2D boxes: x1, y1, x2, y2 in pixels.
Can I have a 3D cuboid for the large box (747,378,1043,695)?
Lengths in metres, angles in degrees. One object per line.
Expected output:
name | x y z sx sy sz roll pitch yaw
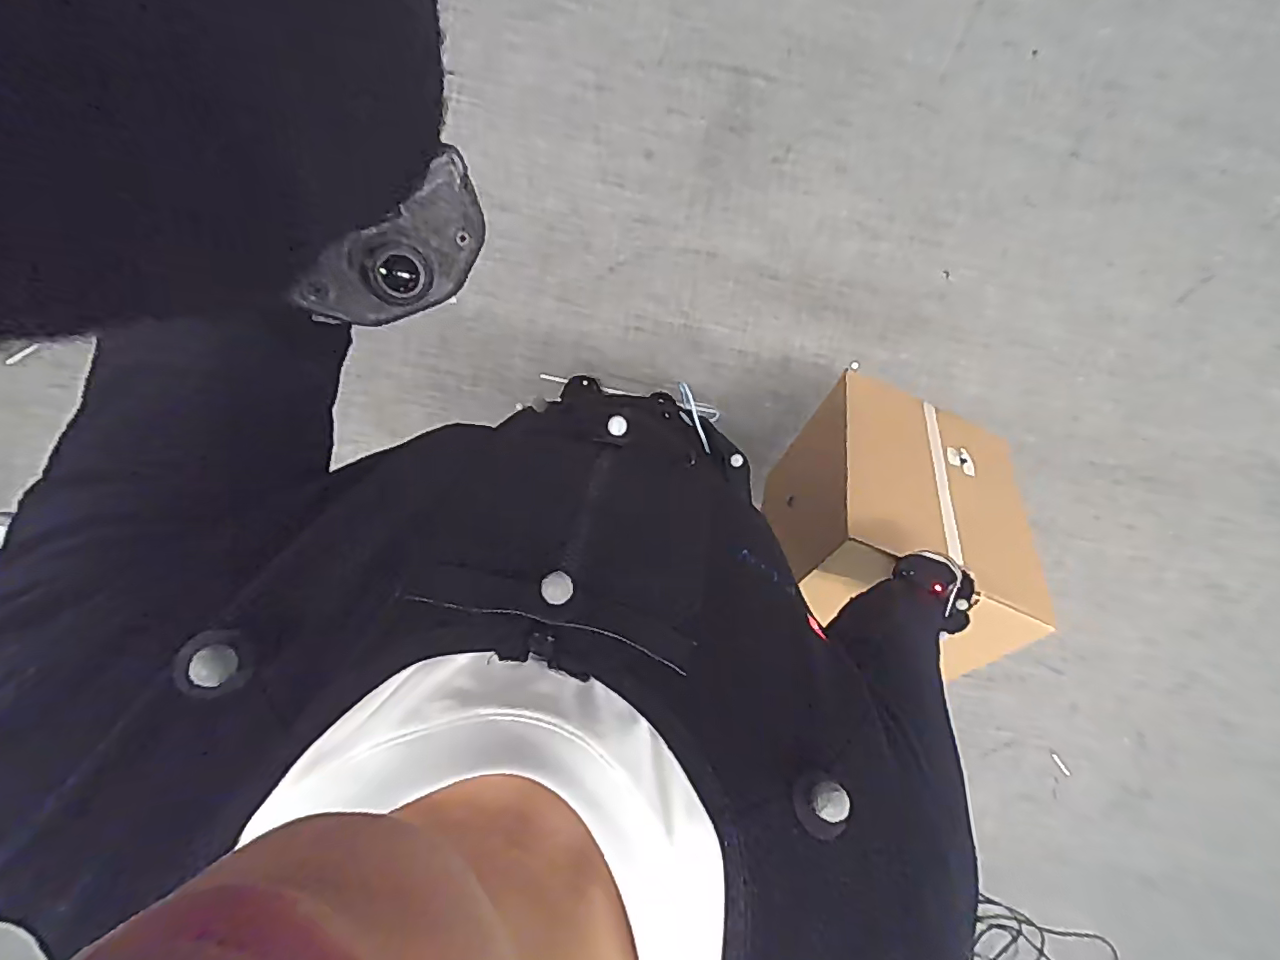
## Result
large box | 0.409 0.098 0.965 0.320 0.408 0.320 24 136 -3
